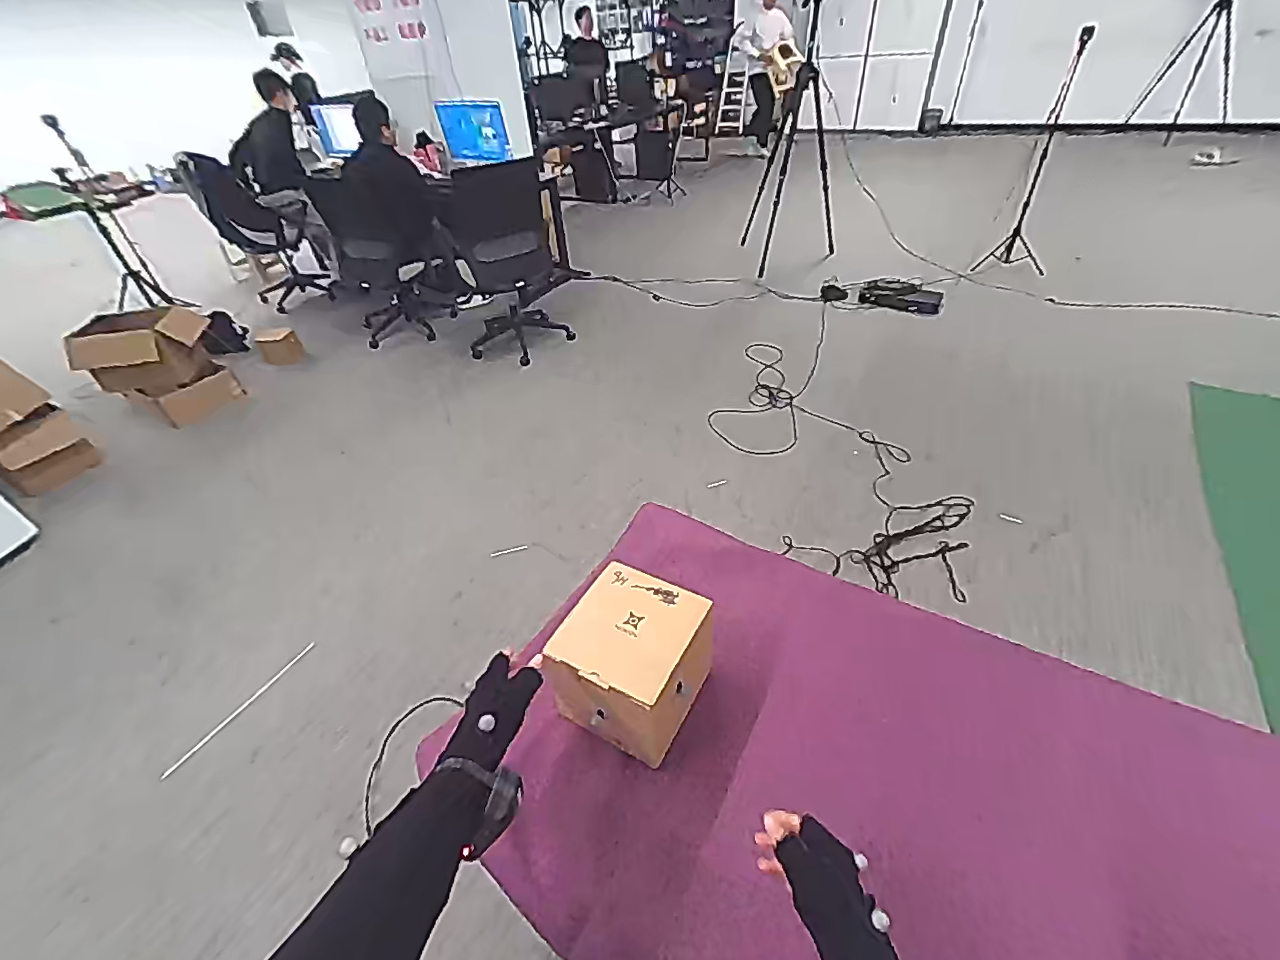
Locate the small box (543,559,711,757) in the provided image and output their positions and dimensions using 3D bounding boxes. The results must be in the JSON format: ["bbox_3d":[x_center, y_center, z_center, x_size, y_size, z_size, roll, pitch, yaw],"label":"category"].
[{"bbox_3d":[-0.007,0.250,0.763,0.168,0.176,0.179,18,46,25],"label":"small box"}]
